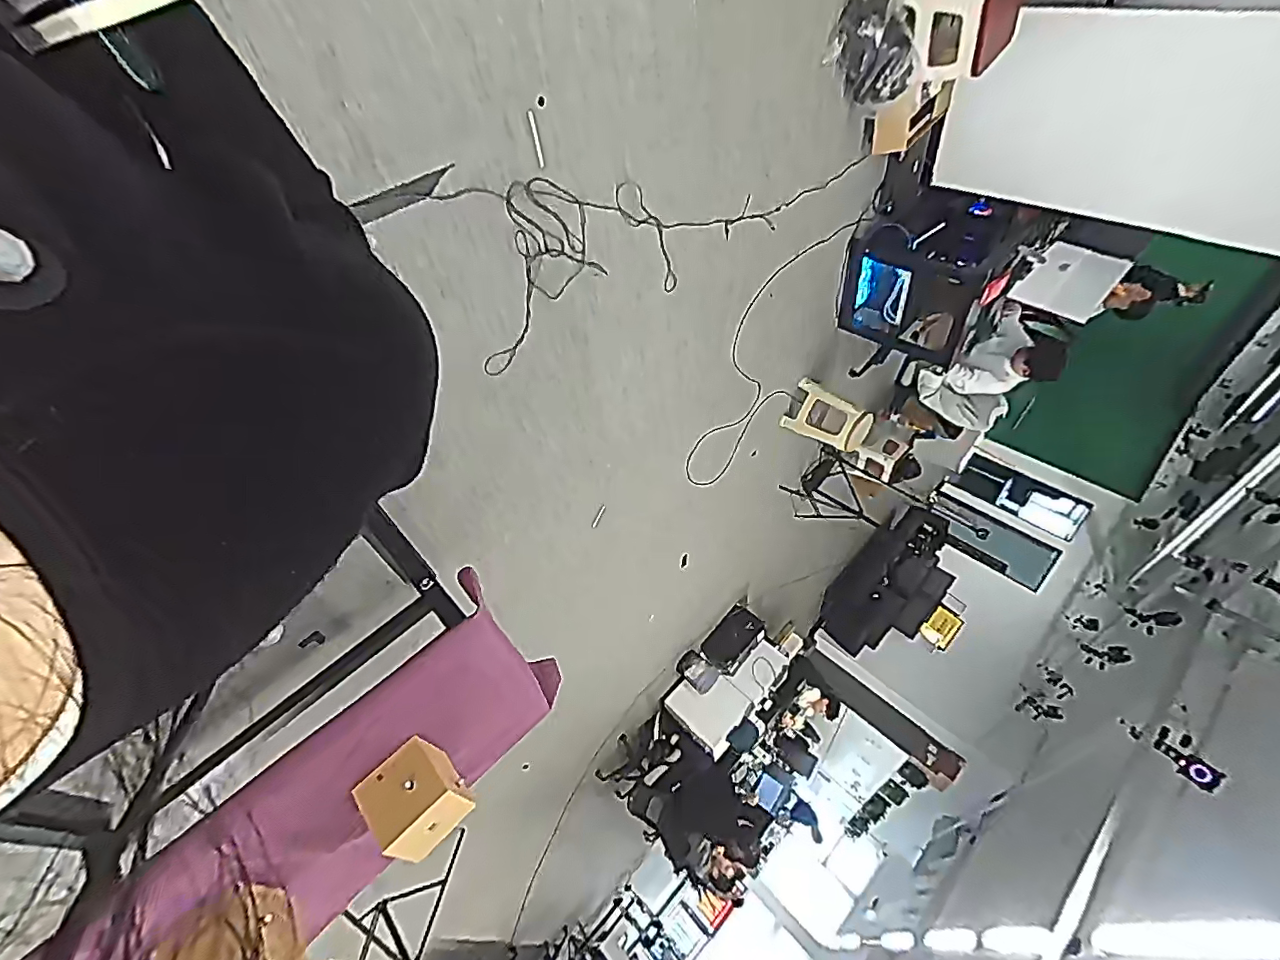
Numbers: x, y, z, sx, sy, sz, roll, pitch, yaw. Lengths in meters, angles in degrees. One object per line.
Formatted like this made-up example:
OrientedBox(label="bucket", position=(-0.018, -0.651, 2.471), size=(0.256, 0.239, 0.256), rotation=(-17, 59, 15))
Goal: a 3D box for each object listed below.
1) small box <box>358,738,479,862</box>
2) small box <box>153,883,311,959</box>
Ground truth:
OrientedBox(label="small box", position=(-0.510, 0.732, 1.246), size=(0.168, 0.176, 0.179), rotation=(-40, 145, -22))
OrientedBox(label="small box", position=(-0.802, 0.943, 1.064), size=(0.179, 0.176, 0.168), rotation=(-37, 143, -24))
